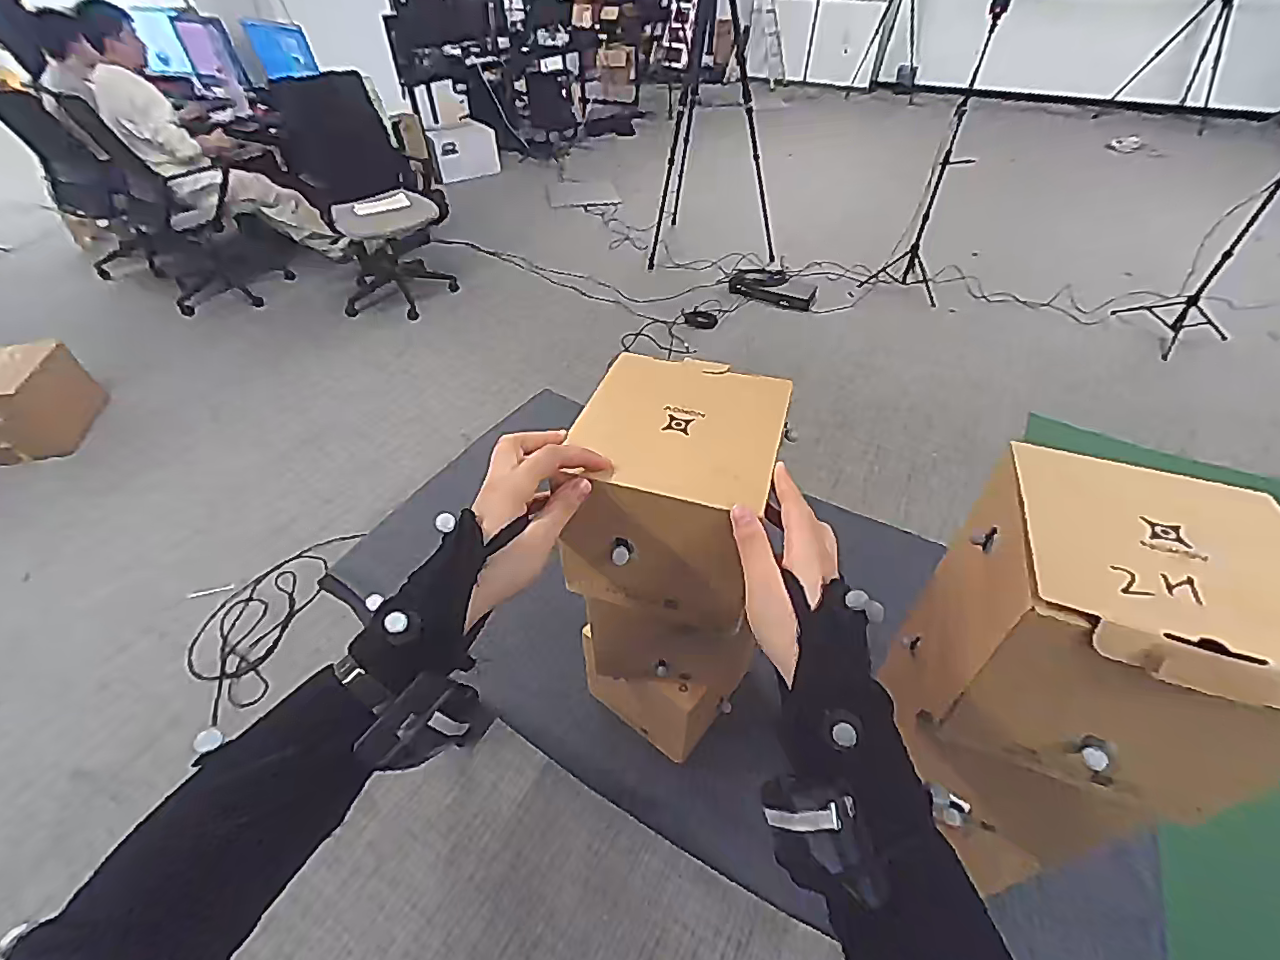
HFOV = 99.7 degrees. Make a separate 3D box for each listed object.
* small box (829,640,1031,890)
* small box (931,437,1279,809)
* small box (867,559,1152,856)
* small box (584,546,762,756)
[{"bbox_3d":[0.336,0.331,0.633,0.168,0.176,0.179,21,46,21],"label":"small box"},{"bbox_3d":[0.331,0.099,0.401,0.168,0.176,0.179,15,44,18],"label":"small box"},{"bbox_3d":[0.333,0.215,0.521,0.168,0.176,0.179,18,47,20],"label":"small box"},{"bbox_3d":[0.041,0.231,0.740,0.168,0.176,0.179,29,50,27],"label":"small box"}]
